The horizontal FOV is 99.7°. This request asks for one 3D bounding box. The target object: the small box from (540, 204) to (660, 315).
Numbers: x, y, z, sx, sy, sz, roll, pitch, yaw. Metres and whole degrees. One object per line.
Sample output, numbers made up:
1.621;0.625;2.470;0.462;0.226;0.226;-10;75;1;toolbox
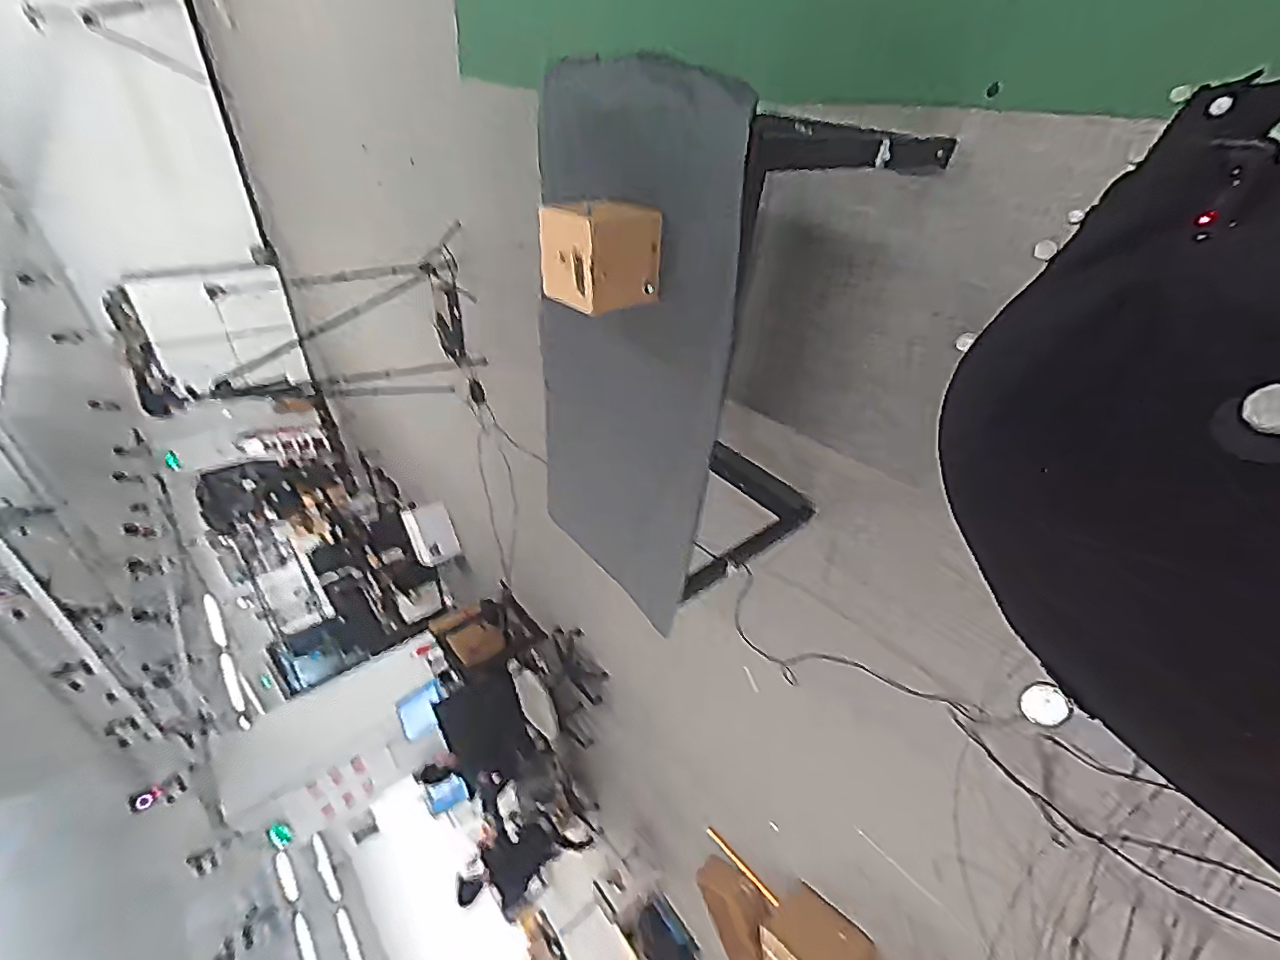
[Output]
-0.077;-0.442;1.065;0.179;0.176;0.168;36;136;39;small box
